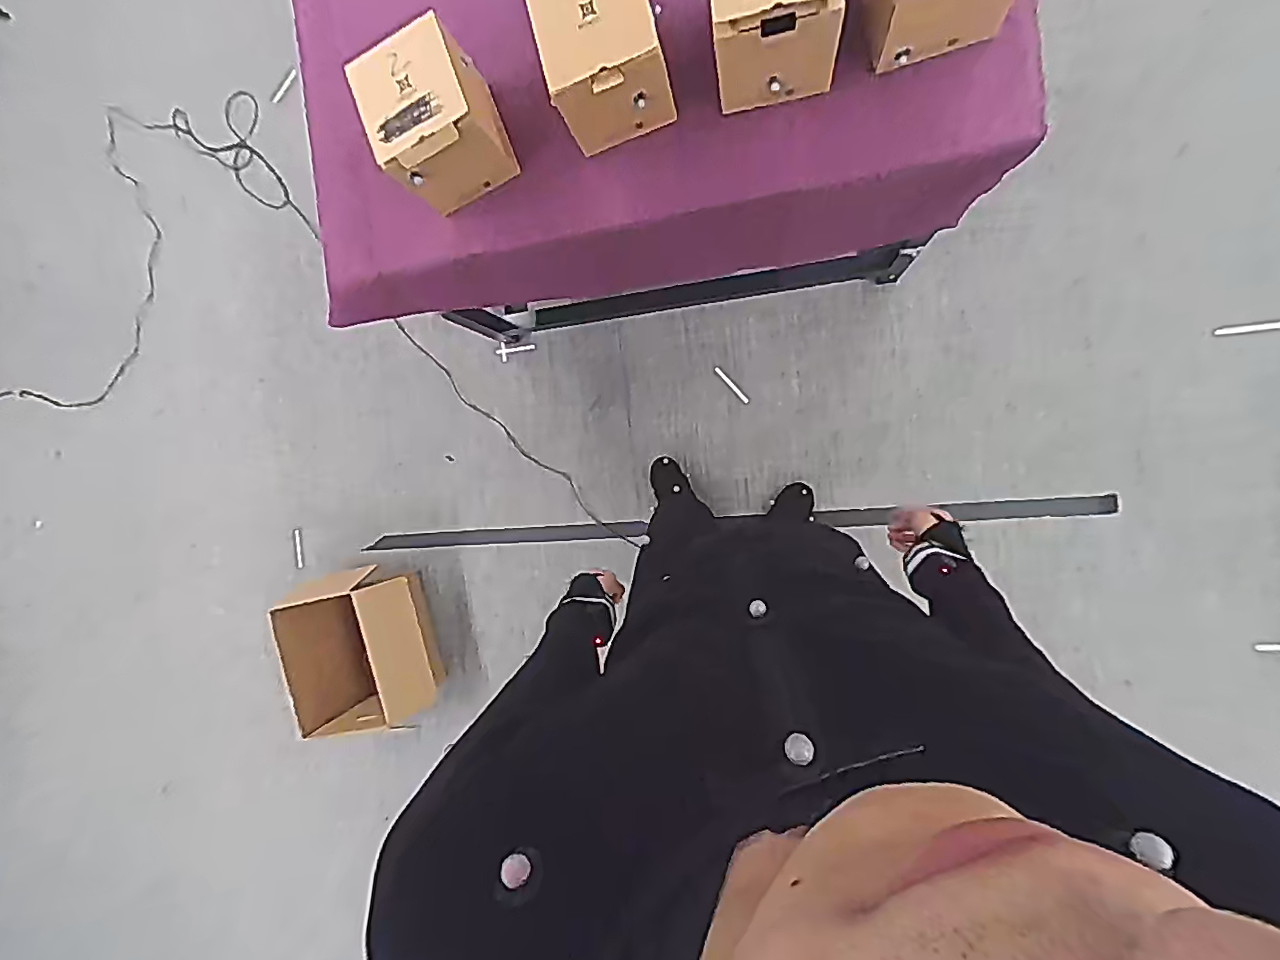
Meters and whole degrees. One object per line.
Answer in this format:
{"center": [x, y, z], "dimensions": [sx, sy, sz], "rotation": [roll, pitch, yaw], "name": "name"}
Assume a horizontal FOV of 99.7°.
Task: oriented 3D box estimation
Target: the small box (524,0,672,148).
{"center": [-0.057, -0.644, 0.822], "dimensions": [0.168, 0.176, 0.179], "rotation": [-15, 89, 12], "name": "small box"}

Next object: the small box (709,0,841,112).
{"center": [0.182, -0.674, 0.768], "dimensions": [0.168, 0.176, 0.179], "rotation": [-4, 92, 12], "name": "small box"}

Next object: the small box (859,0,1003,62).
{"center": [0.395, -0.708, 0.720], "dimensions": [0.168, 0.176, 0.179], "rotation": [-11, 90, 13], "name": "small box"}
